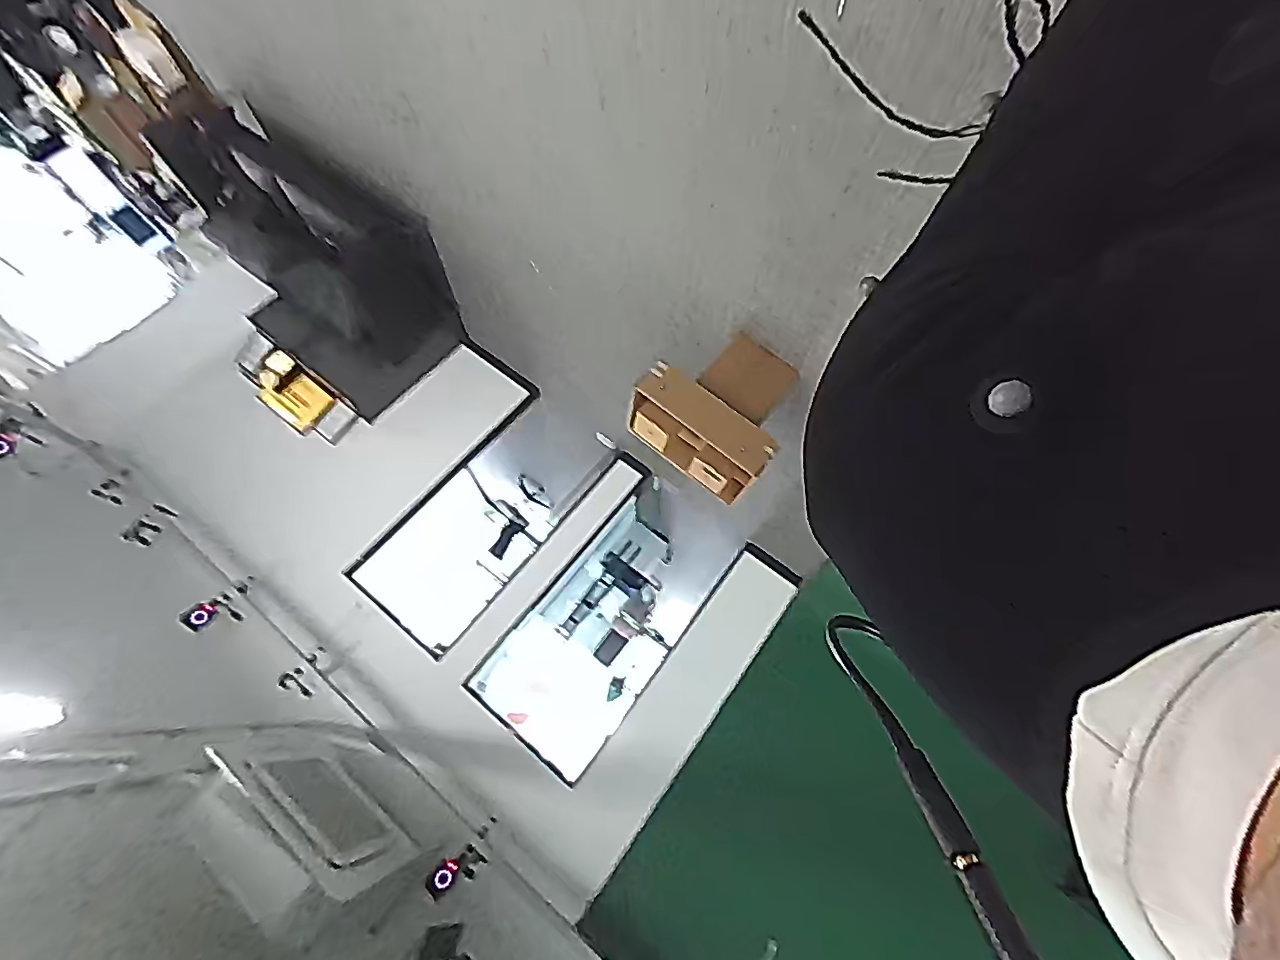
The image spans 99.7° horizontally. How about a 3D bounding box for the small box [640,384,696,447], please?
[{"bbox_3d":[0.123,-0.280,2.351,0.168,0.176,0.179,39,160,9],"label":"small box"}]
